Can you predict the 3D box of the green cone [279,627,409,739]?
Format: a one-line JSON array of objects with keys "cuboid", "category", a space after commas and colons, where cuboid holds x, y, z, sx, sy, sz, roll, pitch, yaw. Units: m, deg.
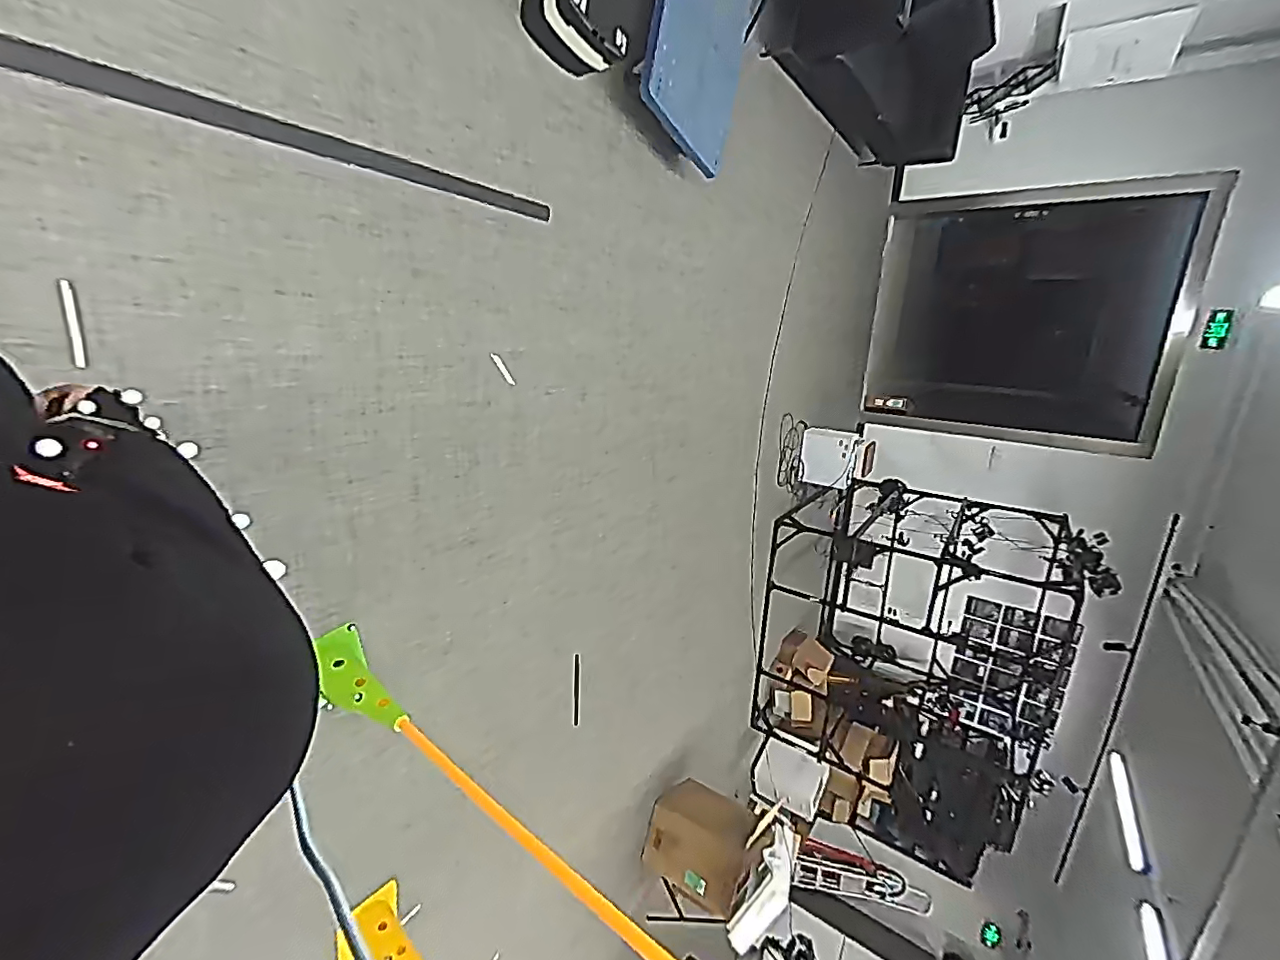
[{"cuboid": [-0.721, 0.560, 1.383, 0.200, 0.368, 0.202, -31, 128, -48], "category": "green cone"}]
